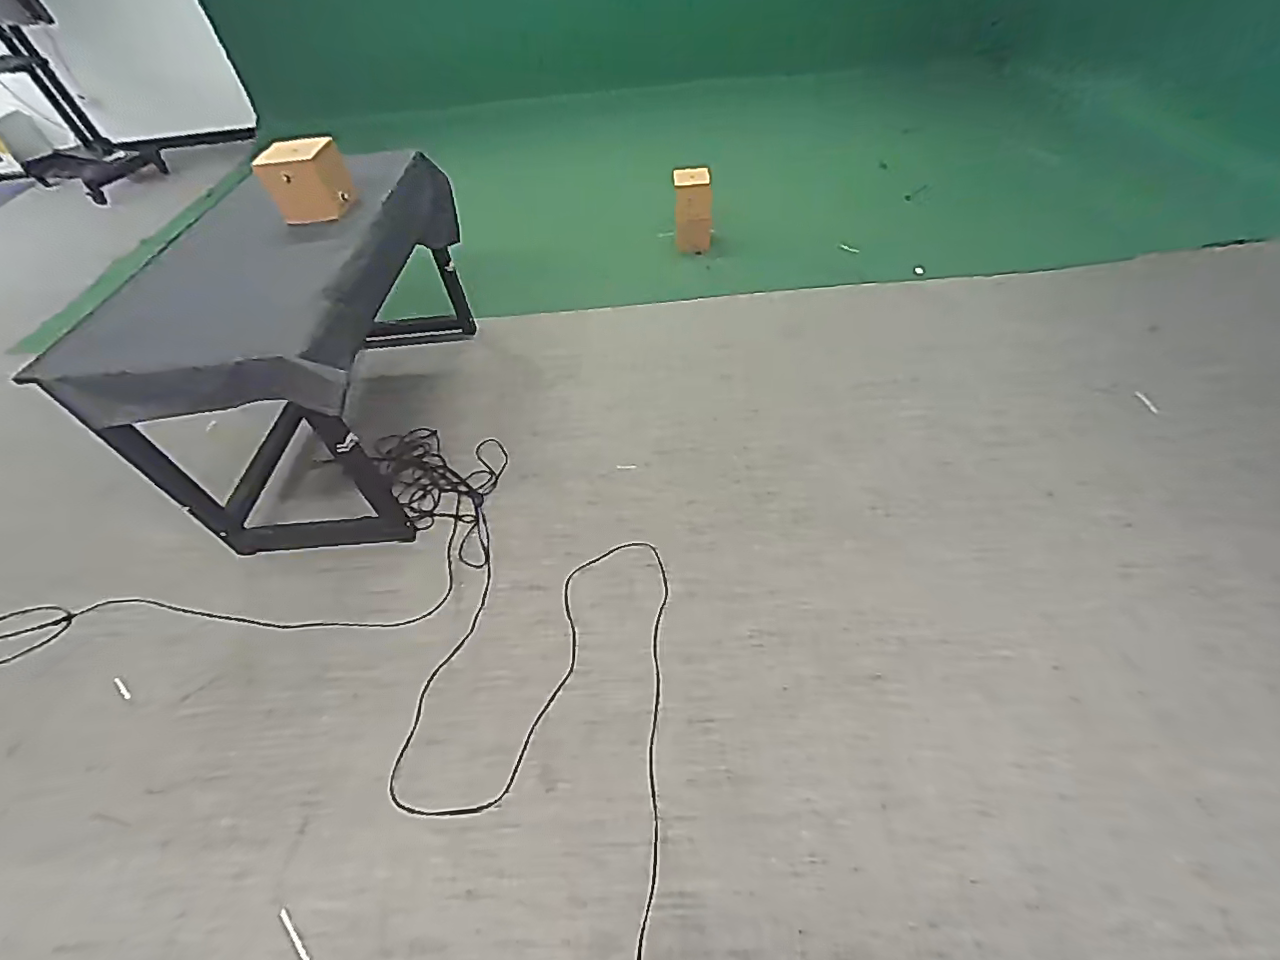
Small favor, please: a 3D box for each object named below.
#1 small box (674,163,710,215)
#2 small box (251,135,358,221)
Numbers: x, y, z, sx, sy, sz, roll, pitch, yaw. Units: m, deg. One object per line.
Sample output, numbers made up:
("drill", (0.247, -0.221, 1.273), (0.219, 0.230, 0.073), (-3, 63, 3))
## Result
("small box", (0.251, -1.394, 2.603), (0.168, 0.176, 0.179), (-3, 50, 4))
("small box", (-0.962, -0.871, 1.569), (0.179, 0.176, 0.168), (-3, 51, 3))
